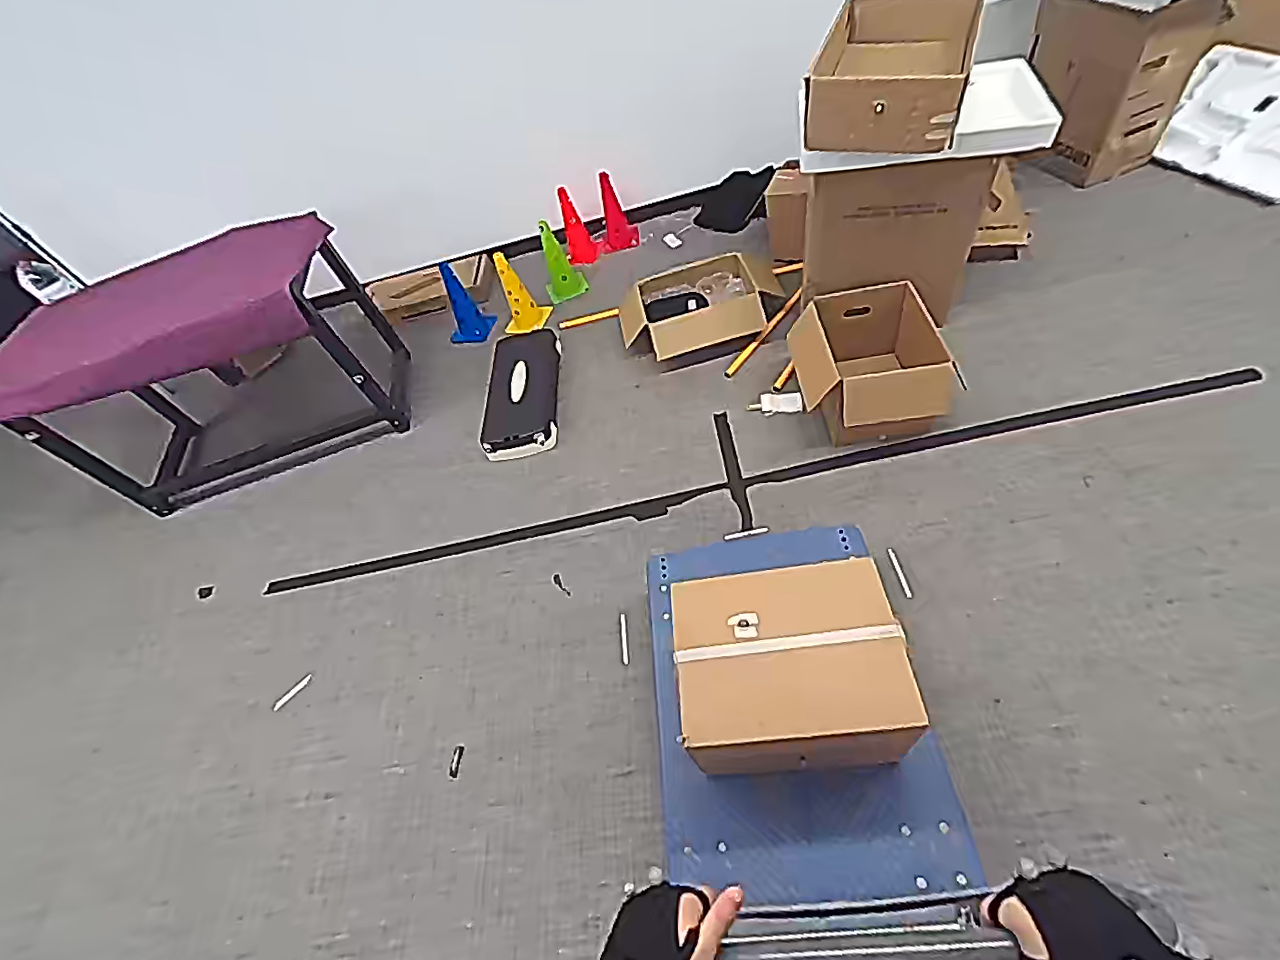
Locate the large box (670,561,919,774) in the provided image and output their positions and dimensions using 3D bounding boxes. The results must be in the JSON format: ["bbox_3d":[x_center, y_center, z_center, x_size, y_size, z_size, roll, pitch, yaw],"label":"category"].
[{"bbox_3d":[0.299,0.403,1.128,0.408,0.320,0.320,-11,51,9],"label":"large box"}]
